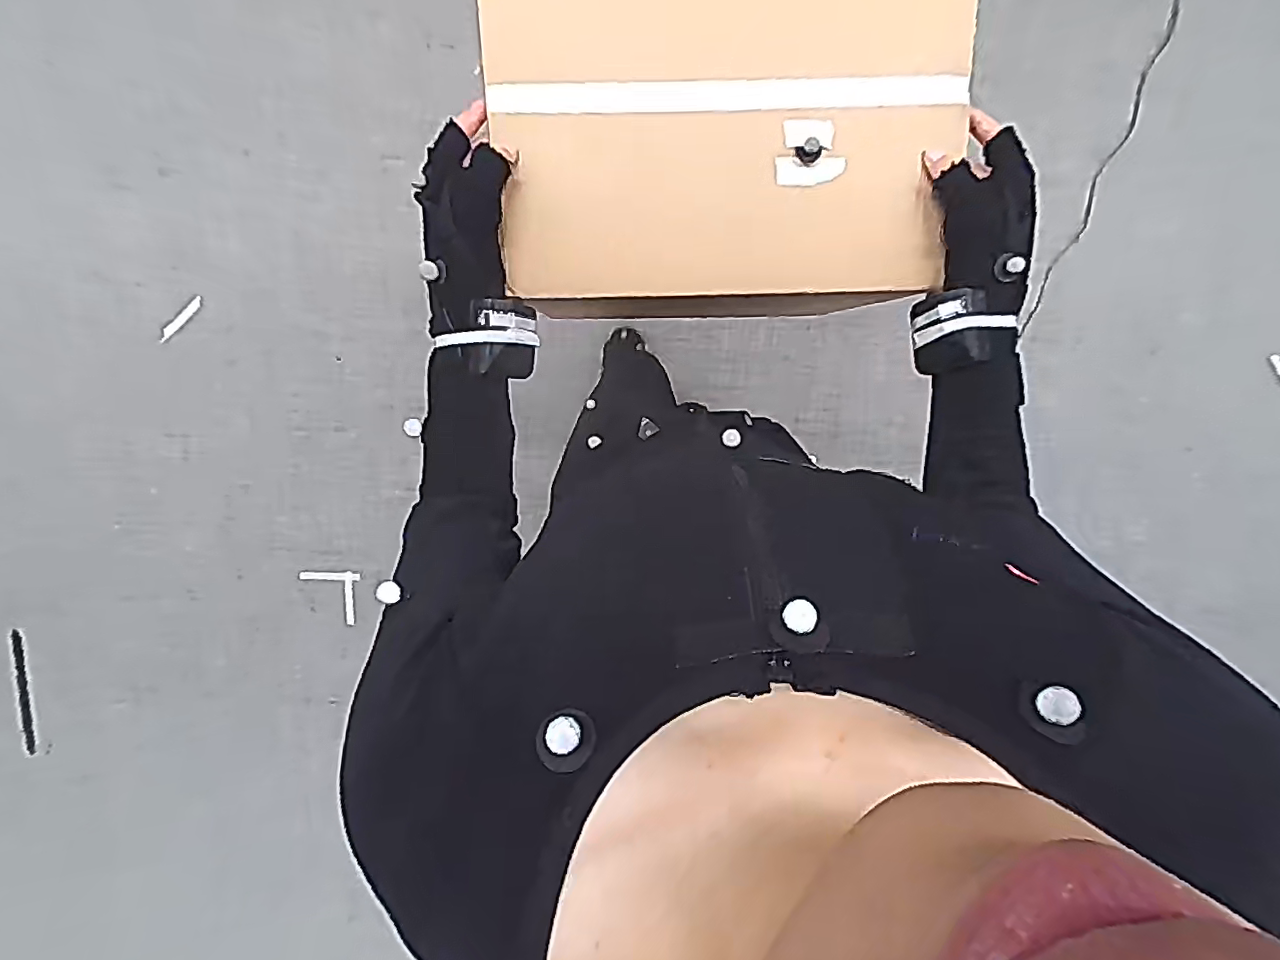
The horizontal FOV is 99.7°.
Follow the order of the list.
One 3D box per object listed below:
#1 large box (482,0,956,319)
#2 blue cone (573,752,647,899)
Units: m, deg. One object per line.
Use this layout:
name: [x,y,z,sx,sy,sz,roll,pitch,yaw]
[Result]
large box: [0.064,-0.362,0.612,0.408,0.320,0.320,-2,103,-2]
blue cone: [-0.095,0.944,1.466,0.193,0.380,0.192,25,98,-1]
